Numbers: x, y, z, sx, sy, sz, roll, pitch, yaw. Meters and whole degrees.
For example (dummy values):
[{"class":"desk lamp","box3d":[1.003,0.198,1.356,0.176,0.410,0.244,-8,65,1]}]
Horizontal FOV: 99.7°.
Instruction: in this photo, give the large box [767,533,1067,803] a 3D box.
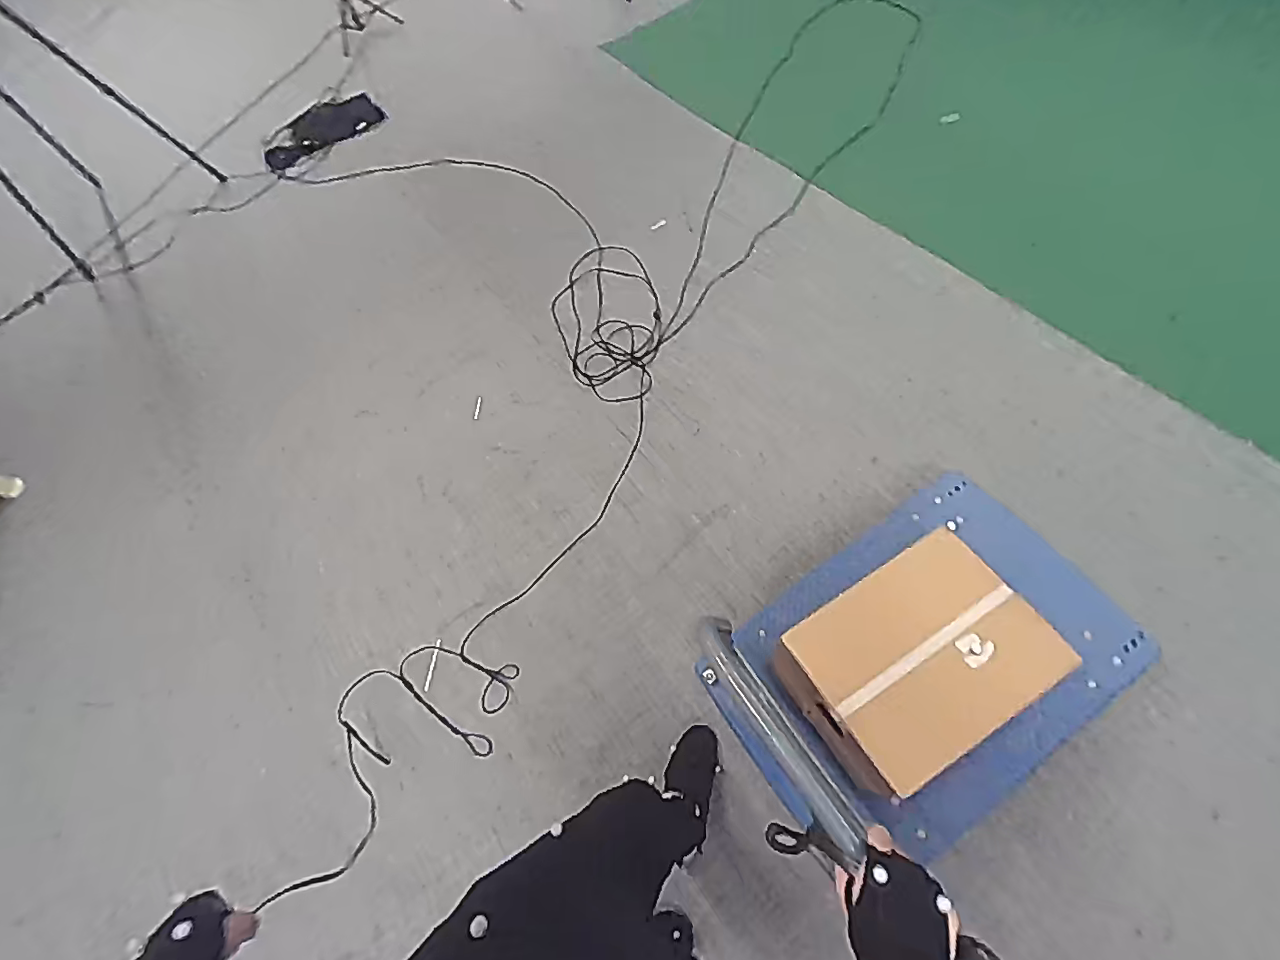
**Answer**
[{"class":"large box","box3d":[0.518,0.385,1.104,0.408,0.320,0.320,-32,63,-9]}]
